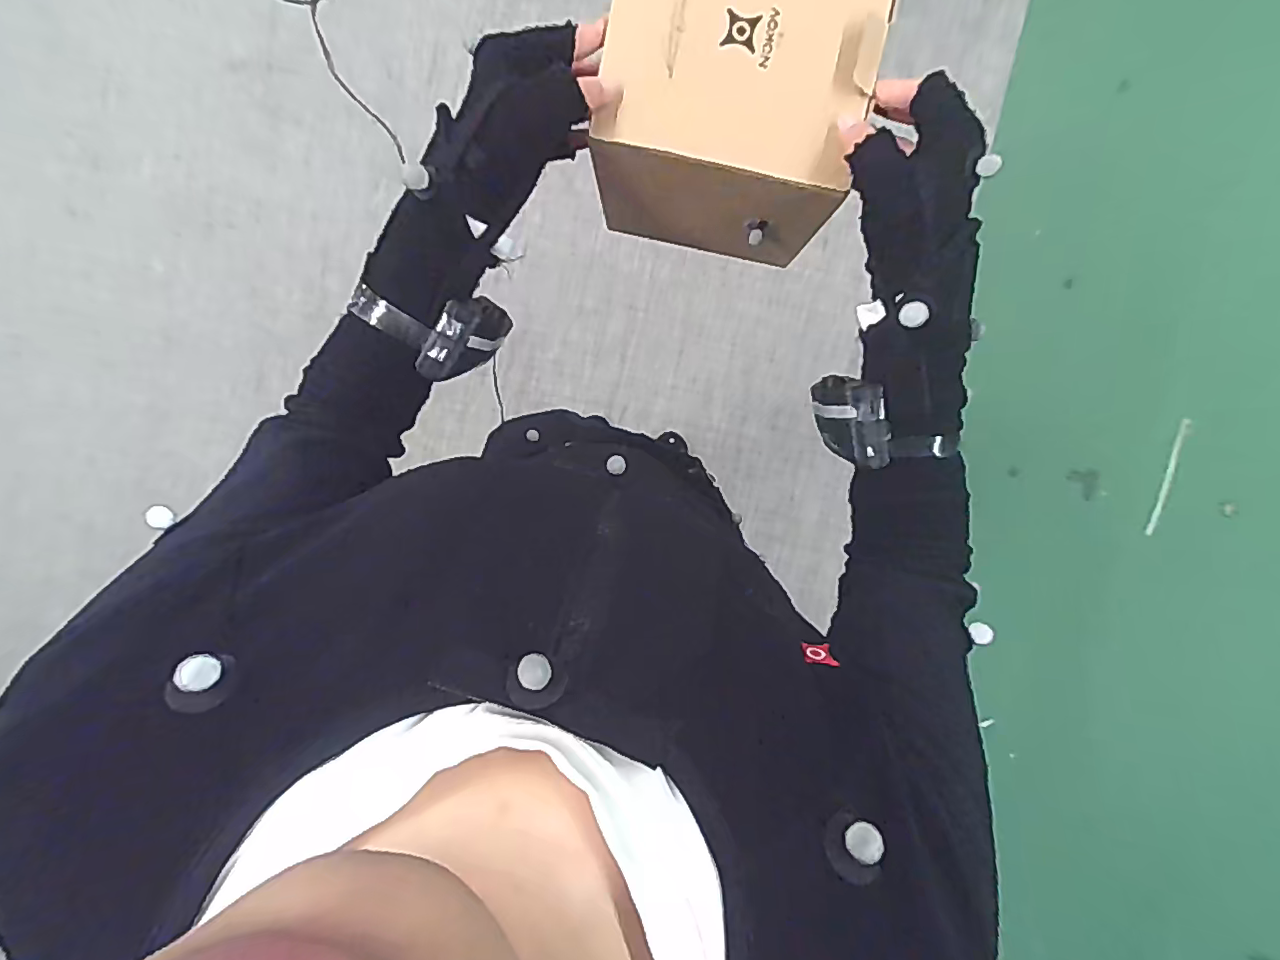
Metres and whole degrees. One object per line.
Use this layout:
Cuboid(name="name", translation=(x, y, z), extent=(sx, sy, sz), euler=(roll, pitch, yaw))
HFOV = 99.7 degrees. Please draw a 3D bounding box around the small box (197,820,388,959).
Cuboid(name="small box", translation=(-0.503, 0.642, 0.800), extent=(0.179, 0.176, 0.168), euler=(12, 89, 0))
